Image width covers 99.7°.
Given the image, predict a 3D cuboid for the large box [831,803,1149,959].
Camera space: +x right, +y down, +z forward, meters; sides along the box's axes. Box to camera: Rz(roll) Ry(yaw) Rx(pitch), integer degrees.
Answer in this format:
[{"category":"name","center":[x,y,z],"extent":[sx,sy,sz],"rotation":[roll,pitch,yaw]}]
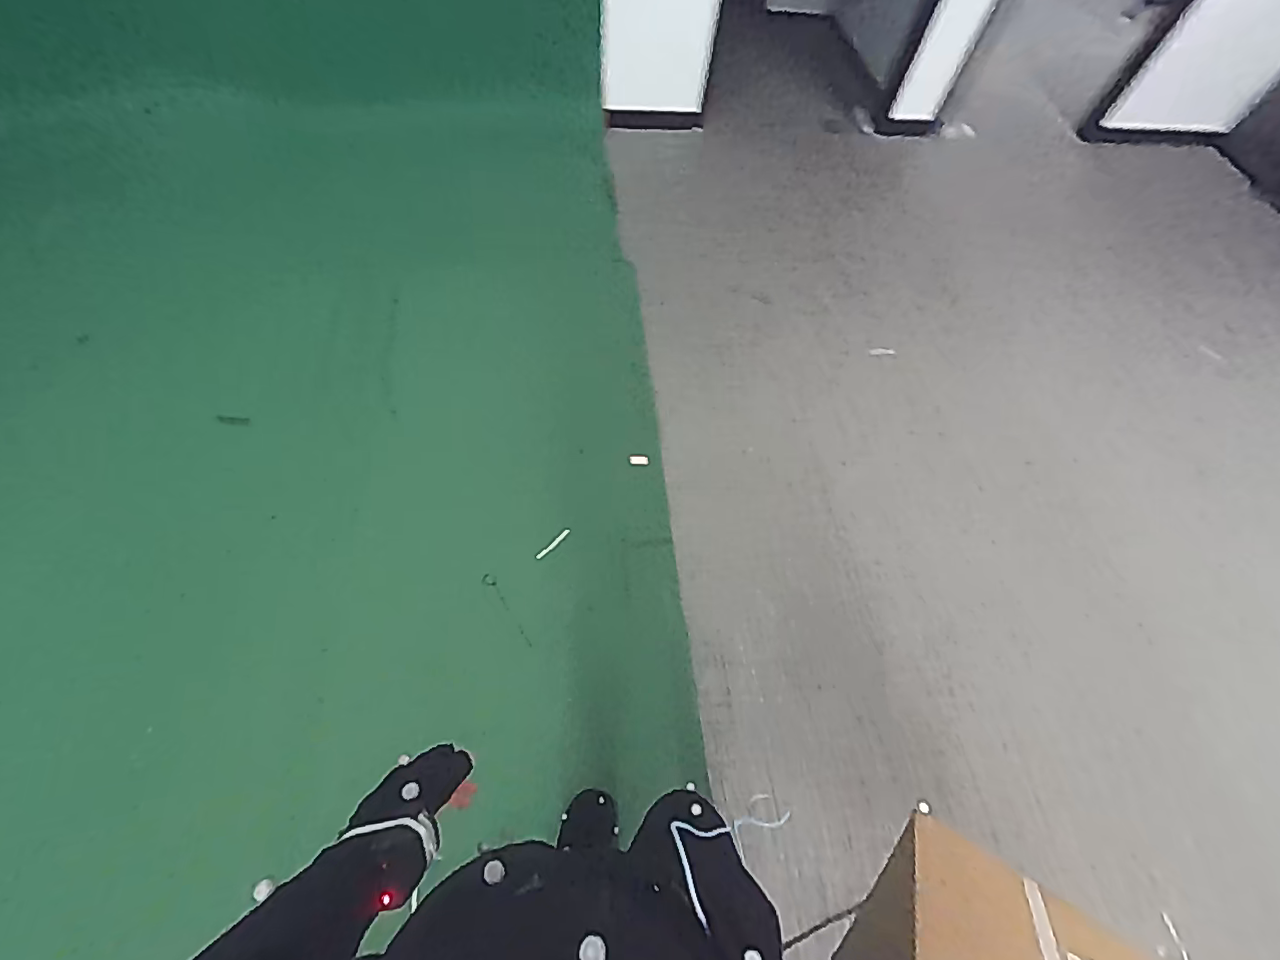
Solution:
[{"category":"large box","center":[0.413,0.706,0.638],"extent":[0.320,0.408,0.320],"rotation":[27,102,23]}]
